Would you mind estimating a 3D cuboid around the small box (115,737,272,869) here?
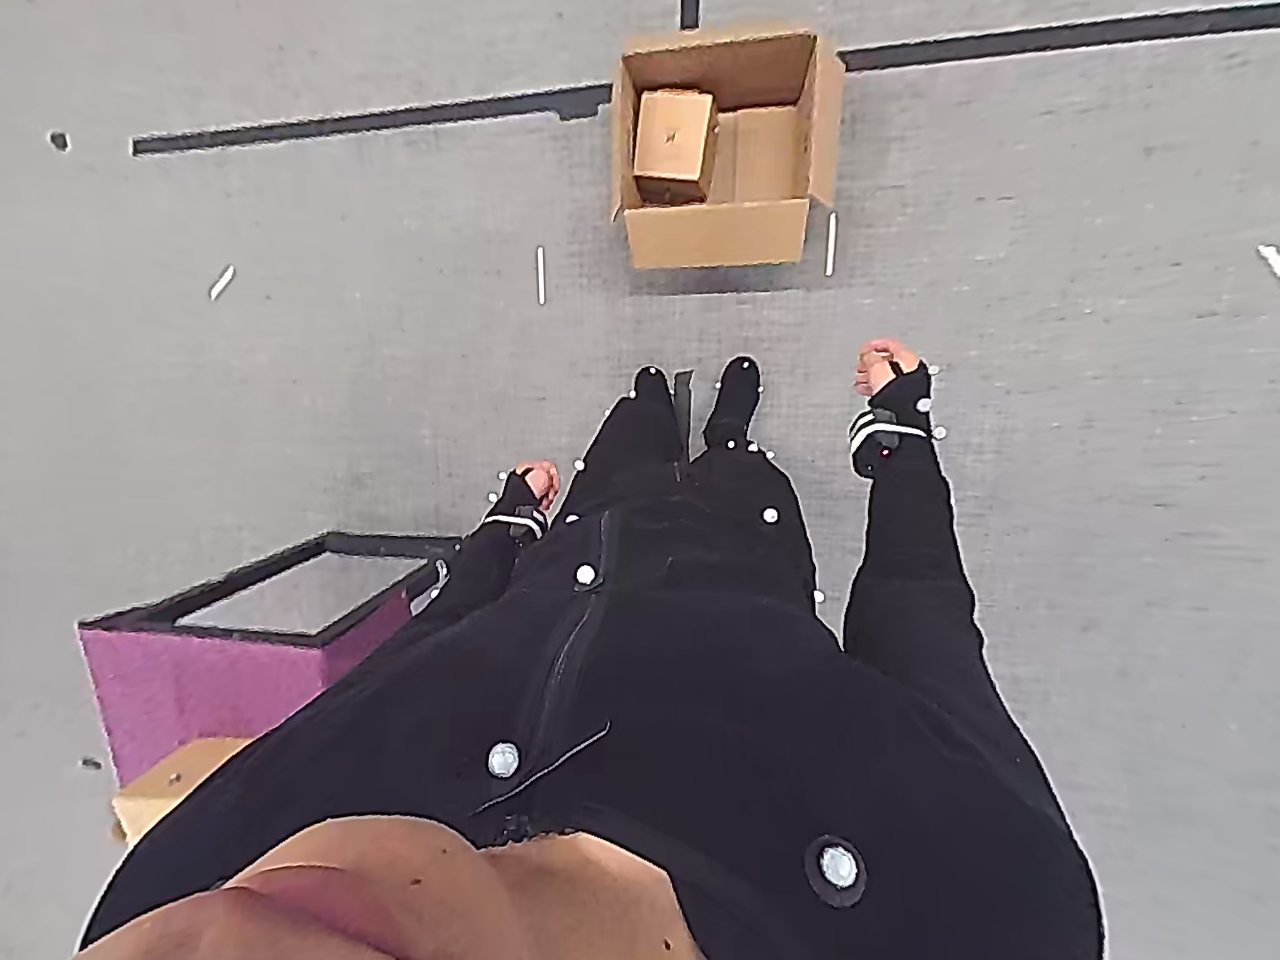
[{"bbox_3d":[-0.894,0.650,1.105,0.179,0.176,0.168,-5,101,11],"label":"small box"}]
